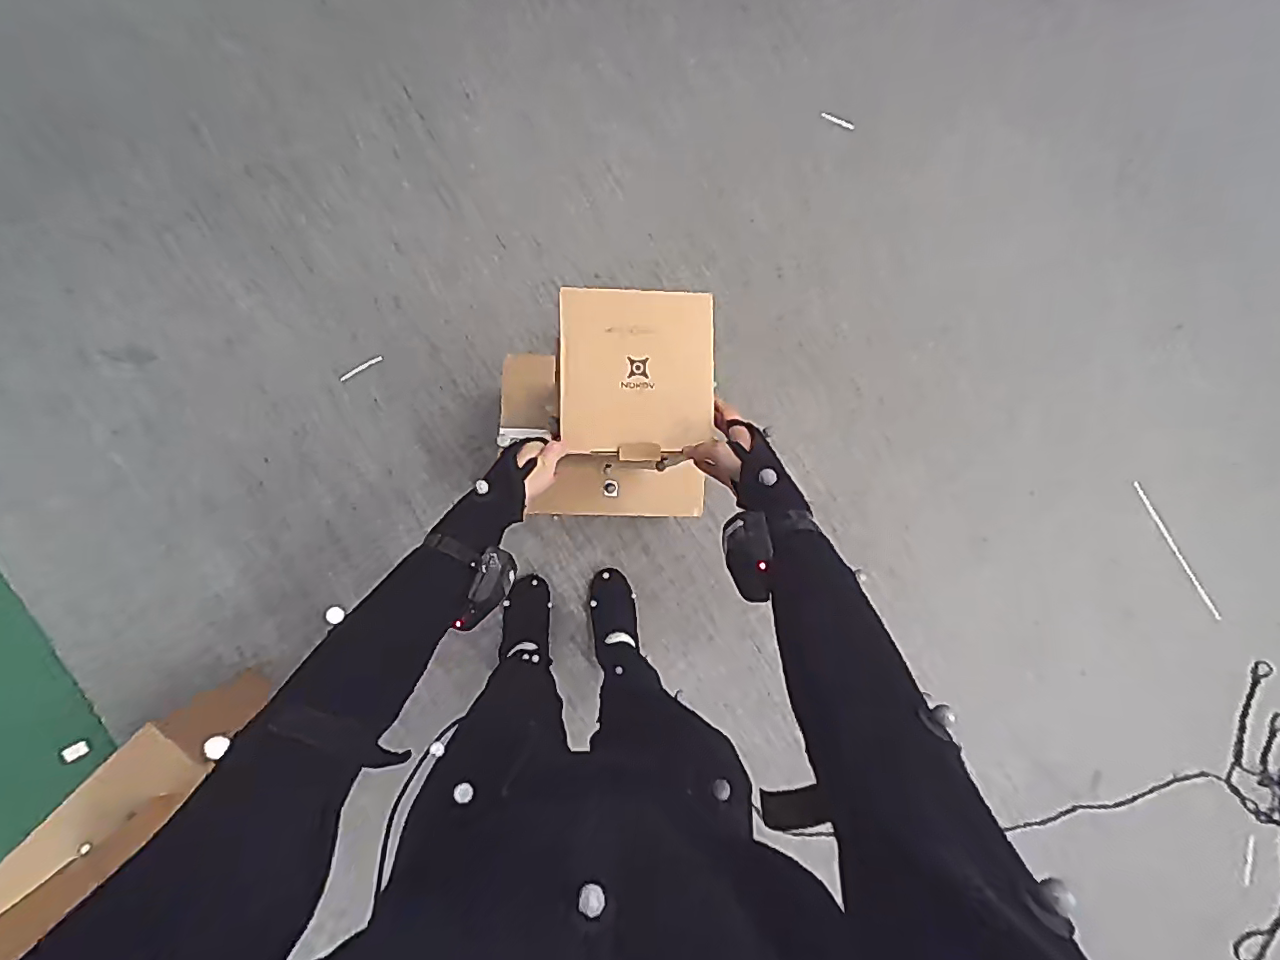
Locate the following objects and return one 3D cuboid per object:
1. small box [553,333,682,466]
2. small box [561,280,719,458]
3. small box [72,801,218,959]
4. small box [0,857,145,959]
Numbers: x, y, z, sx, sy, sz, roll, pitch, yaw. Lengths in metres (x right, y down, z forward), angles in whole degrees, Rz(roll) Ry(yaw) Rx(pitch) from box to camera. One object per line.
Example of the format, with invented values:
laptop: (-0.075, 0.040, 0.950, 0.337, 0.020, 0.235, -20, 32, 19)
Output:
small box: (-0.036, -0.110, 0.805, 0.179, 0.176, 0.168, 2, 88, -7)
small box: (-0.009, -0.117, 0.644, 0.168, 0.176, 0.179, 0, 89, -9)
small box: (-0.818, 0.649, 0.833, 0.168, 0.176, 0.179, -41, 94, -8)
small box: (-0.797, 0.635, 0.673, 0.179, 0.176, 0.168, -39, 93, -8)
